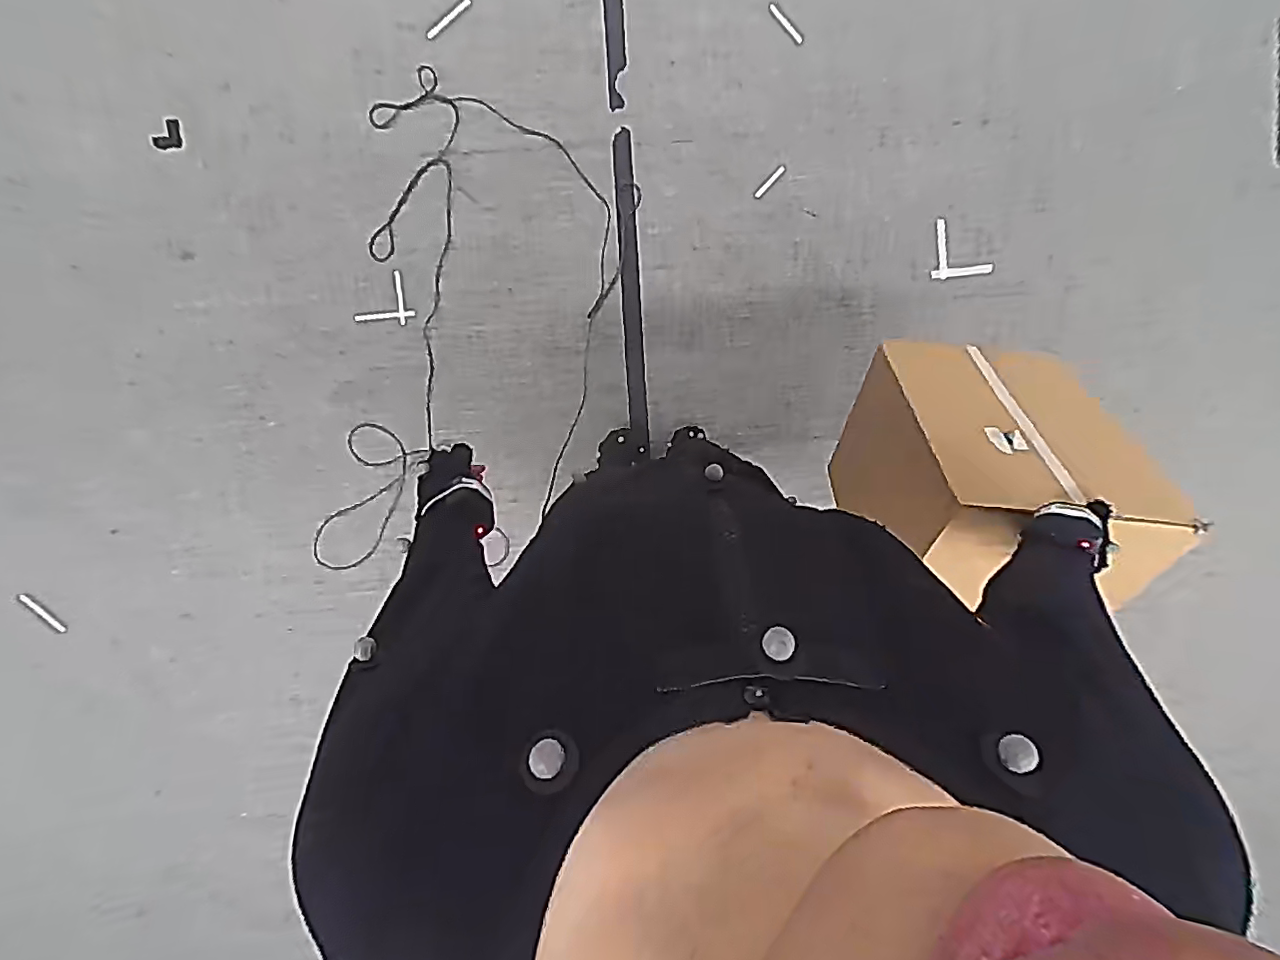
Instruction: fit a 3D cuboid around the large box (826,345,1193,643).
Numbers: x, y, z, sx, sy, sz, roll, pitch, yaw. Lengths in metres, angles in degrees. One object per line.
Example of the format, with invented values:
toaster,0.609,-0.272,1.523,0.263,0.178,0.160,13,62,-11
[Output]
large box,0.553,0.016,0.930,0.320,0.408,0.320,4,135,0
